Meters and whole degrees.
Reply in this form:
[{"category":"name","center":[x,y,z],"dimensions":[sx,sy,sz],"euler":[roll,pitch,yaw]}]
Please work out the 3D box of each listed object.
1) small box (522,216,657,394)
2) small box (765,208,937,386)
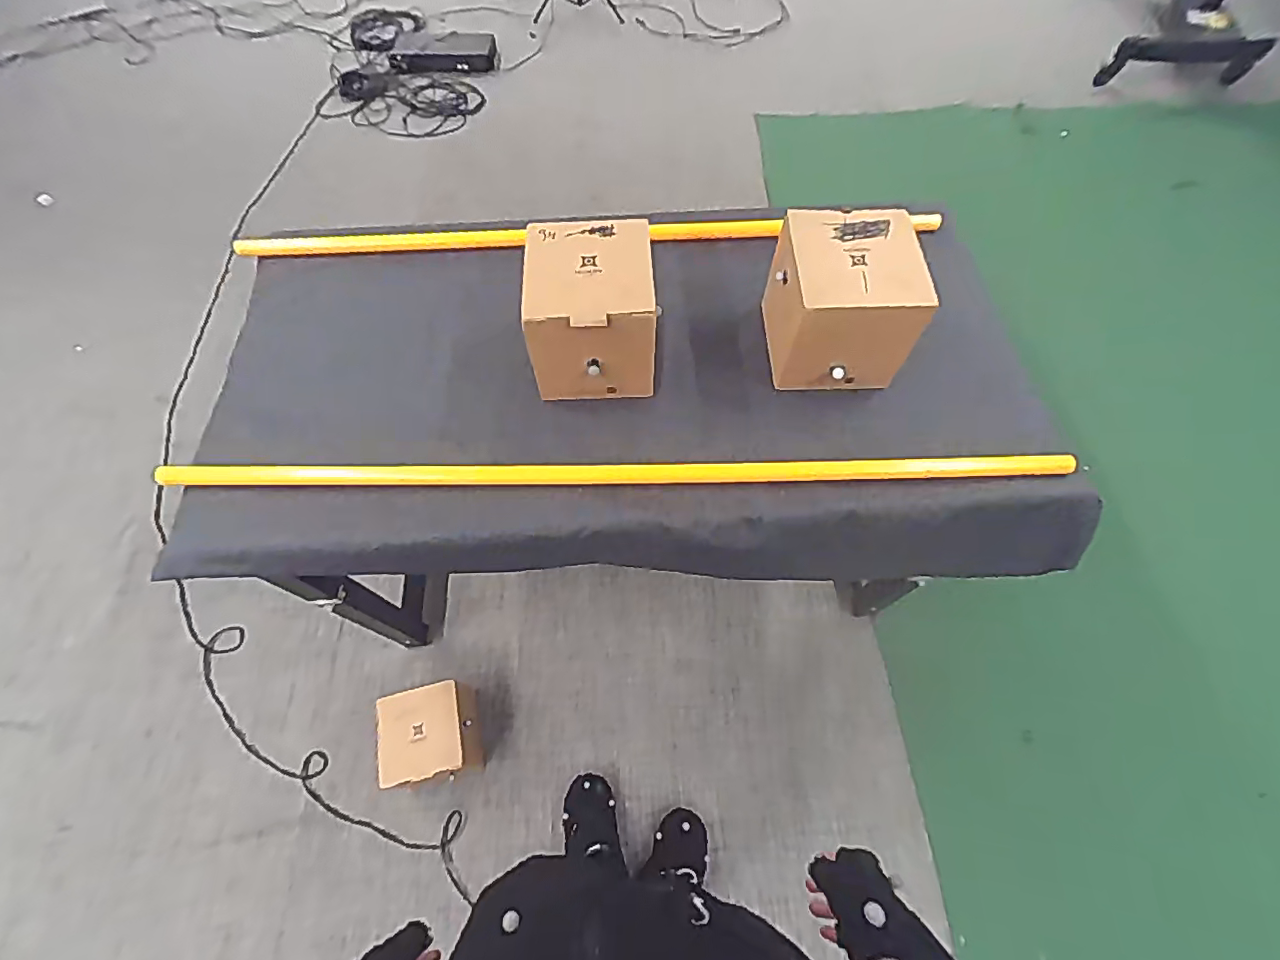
[{"category":"small box","center":[-0.067,-0.236,0.764],"dimensions":[0.168,0.176,0.179],"euler":[-6,62,-1]},{"category":"small box","center":[0.279,-0.254,0.764],"dimensions":[0.168,0.176,0.179],"euler":[-1,64,0]}]
